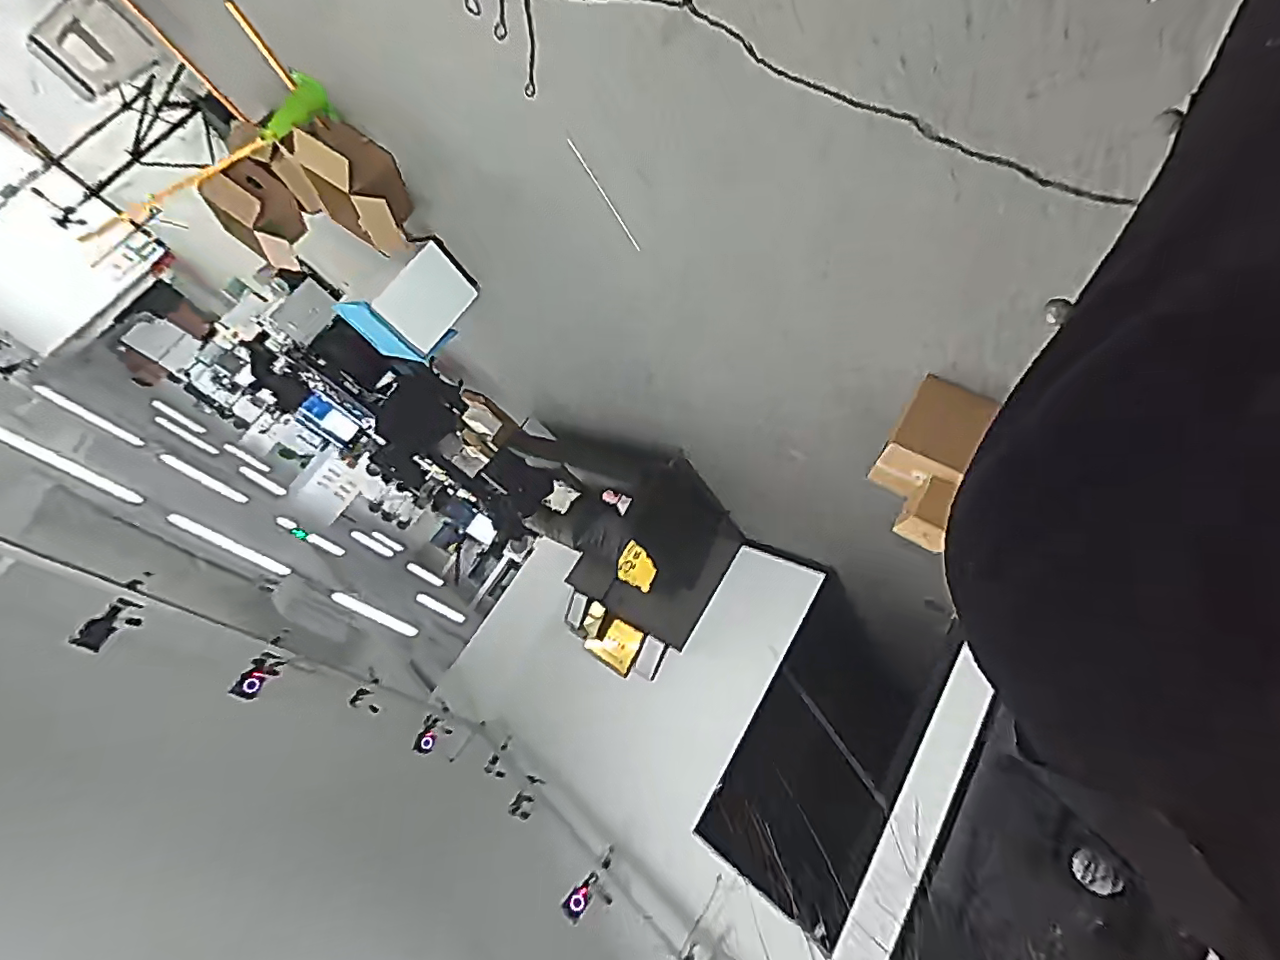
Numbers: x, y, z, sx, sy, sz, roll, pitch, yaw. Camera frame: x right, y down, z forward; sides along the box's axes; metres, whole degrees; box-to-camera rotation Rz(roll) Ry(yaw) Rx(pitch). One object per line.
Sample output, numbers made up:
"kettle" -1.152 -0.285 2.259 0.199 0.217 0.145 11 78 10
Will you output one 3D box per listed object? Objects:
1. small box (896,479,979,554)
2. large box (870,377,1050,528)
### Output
"small box" 1.009 0.125 1.833 0.168 0.176 0.179 31 165 14
"large box" 1.104 -0.093 1.903 0.408 0.320 0.320 31 164 18
